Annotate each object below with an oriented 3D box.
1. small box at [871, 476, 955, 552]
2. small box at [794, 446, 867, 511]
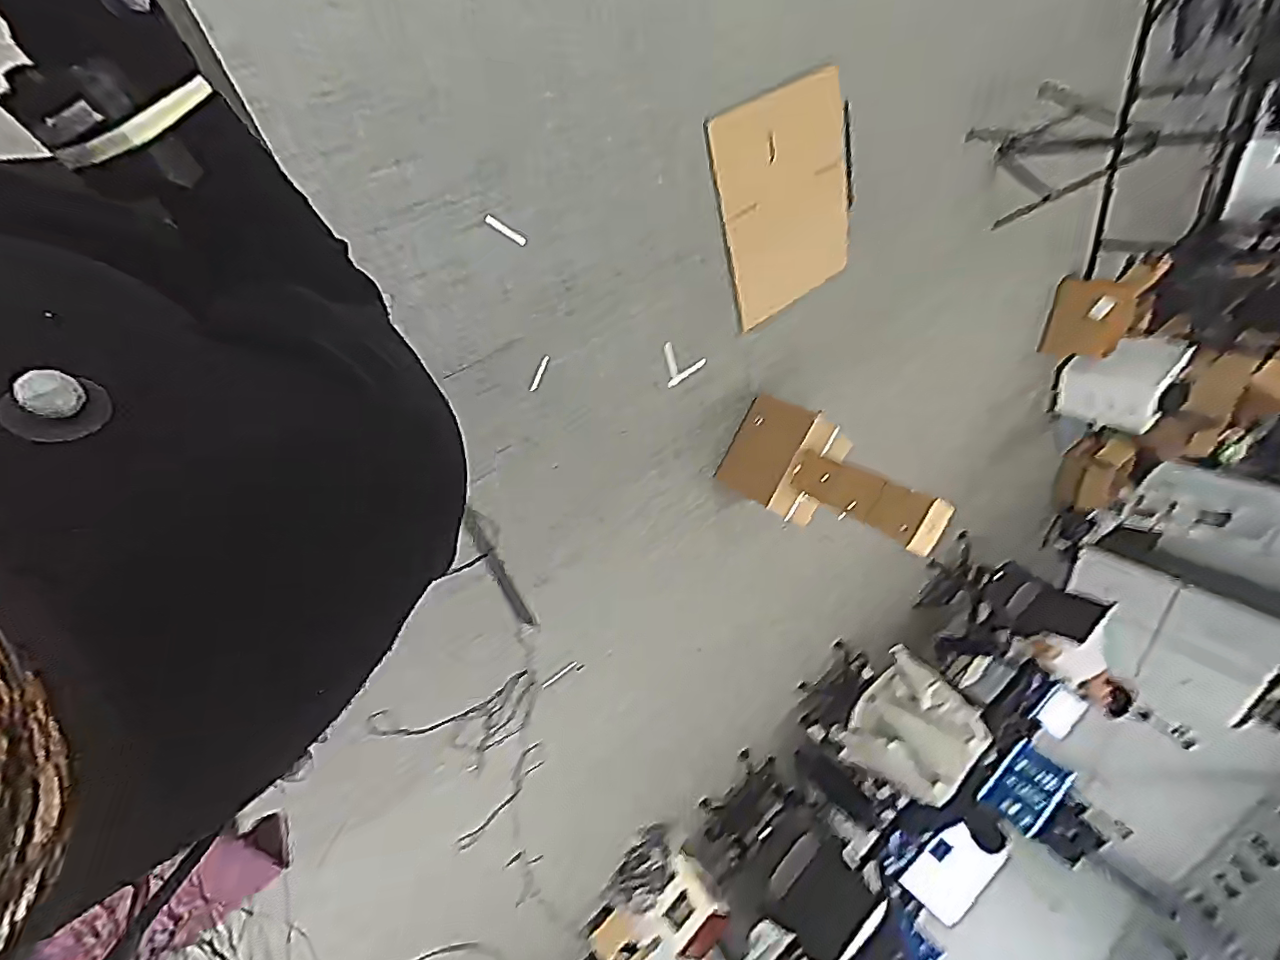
[{"bbox_3d":[0.896,0.112,1.790,0.168,0.176,0.179,20,99,-42],"label":"small box"},{"bbox_3d":[0.713,-0.008,2.036,0.168,0.176,0.179,19,100,-41],"label":"small box"}]
